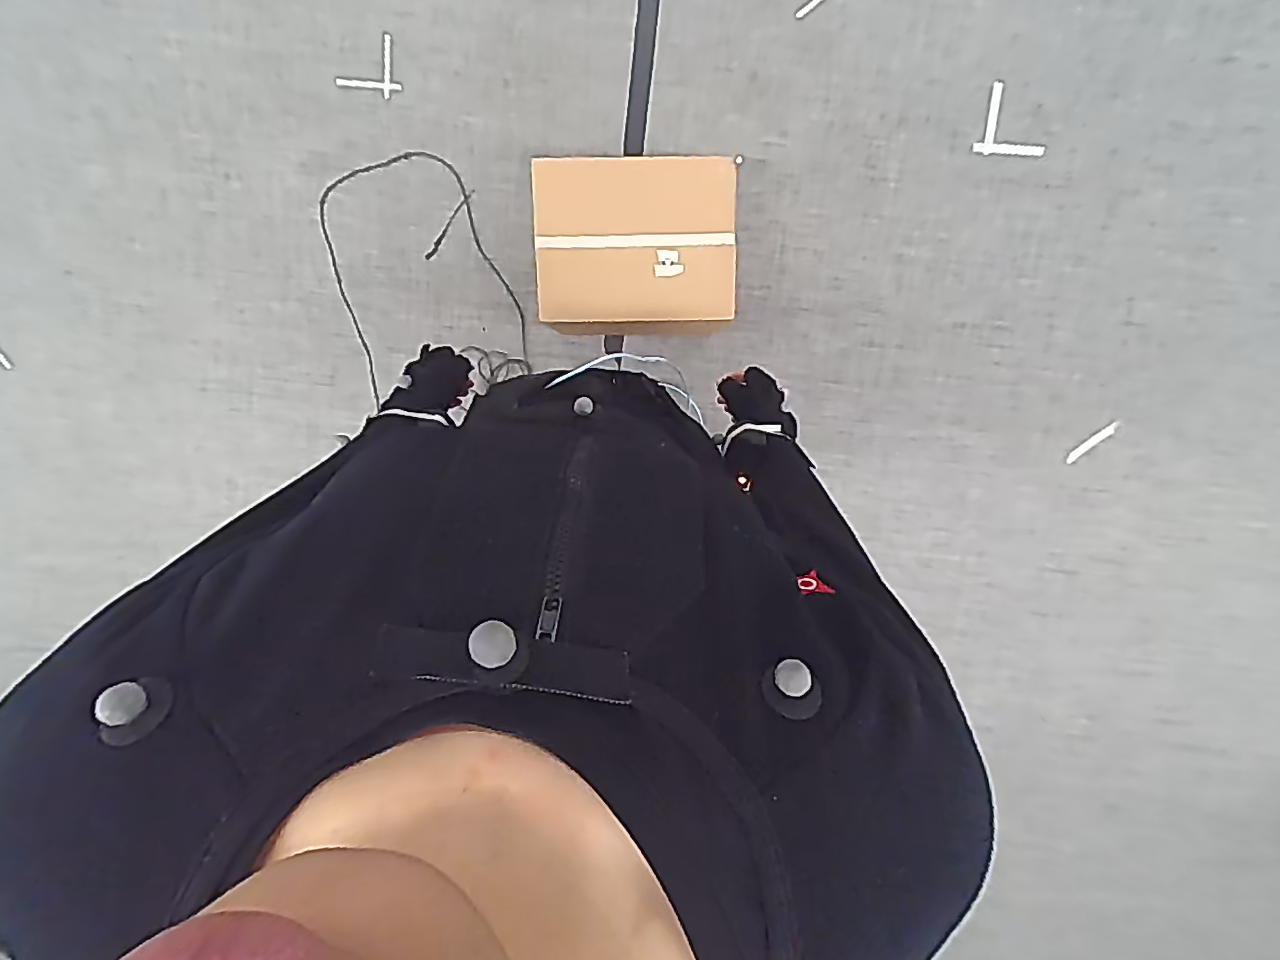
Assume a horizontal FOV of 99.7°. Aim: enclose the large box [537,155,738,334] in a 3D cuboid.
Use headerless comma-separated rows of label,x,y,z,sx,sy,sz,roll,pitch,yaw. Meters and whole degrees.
large box,-0.006,-0.513,1.240,0.408,0.320,0.320,-1,101,-1
